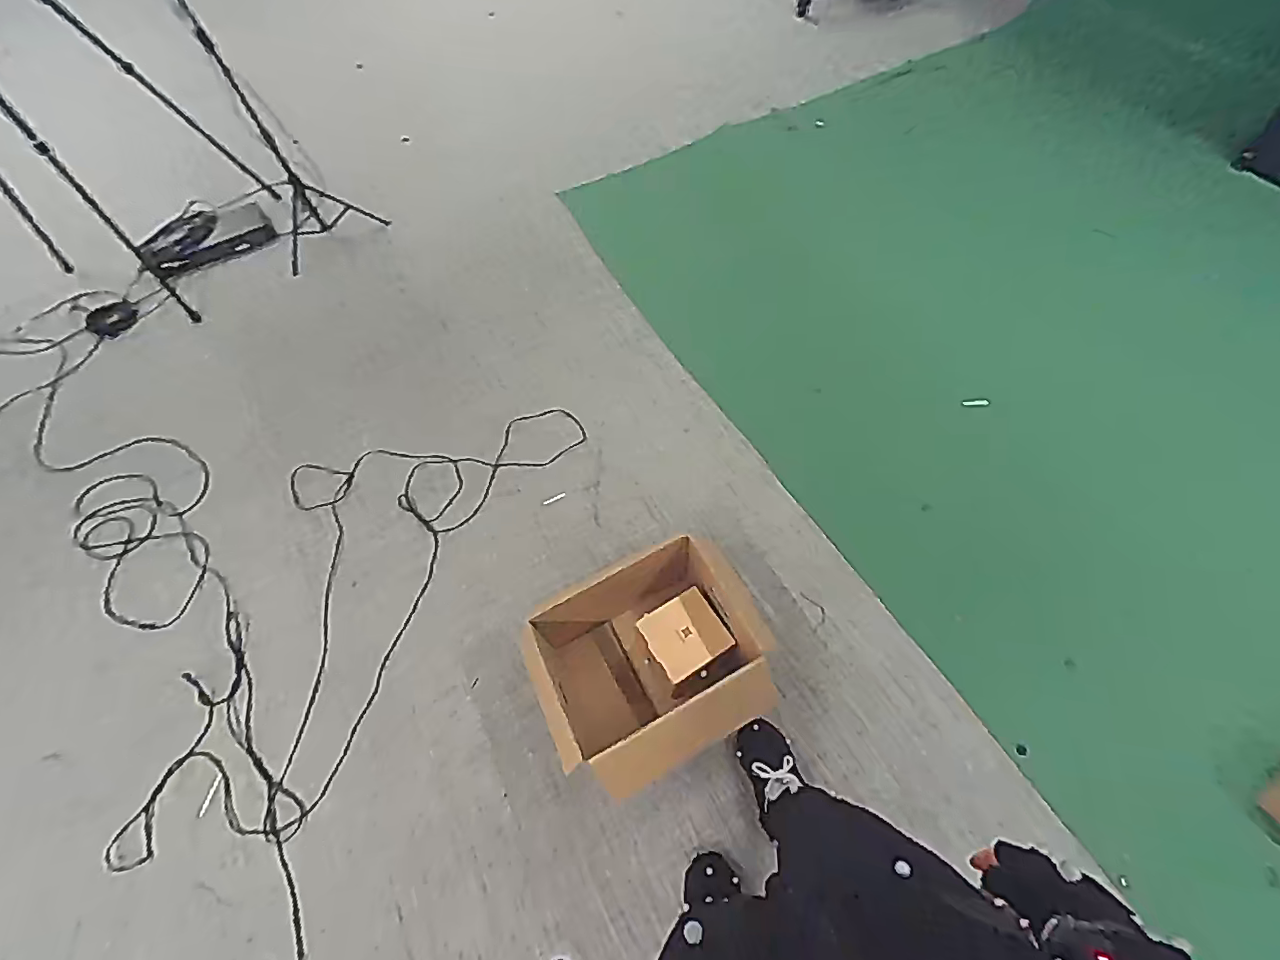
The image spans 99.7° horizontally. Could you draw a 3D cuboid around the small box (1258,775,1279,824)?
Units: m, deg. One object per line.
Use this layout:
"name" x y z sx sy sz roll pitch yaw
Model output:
"small box" 1.433 0.675 1.074 0.168 0.176 0.179 -30 62 -12
